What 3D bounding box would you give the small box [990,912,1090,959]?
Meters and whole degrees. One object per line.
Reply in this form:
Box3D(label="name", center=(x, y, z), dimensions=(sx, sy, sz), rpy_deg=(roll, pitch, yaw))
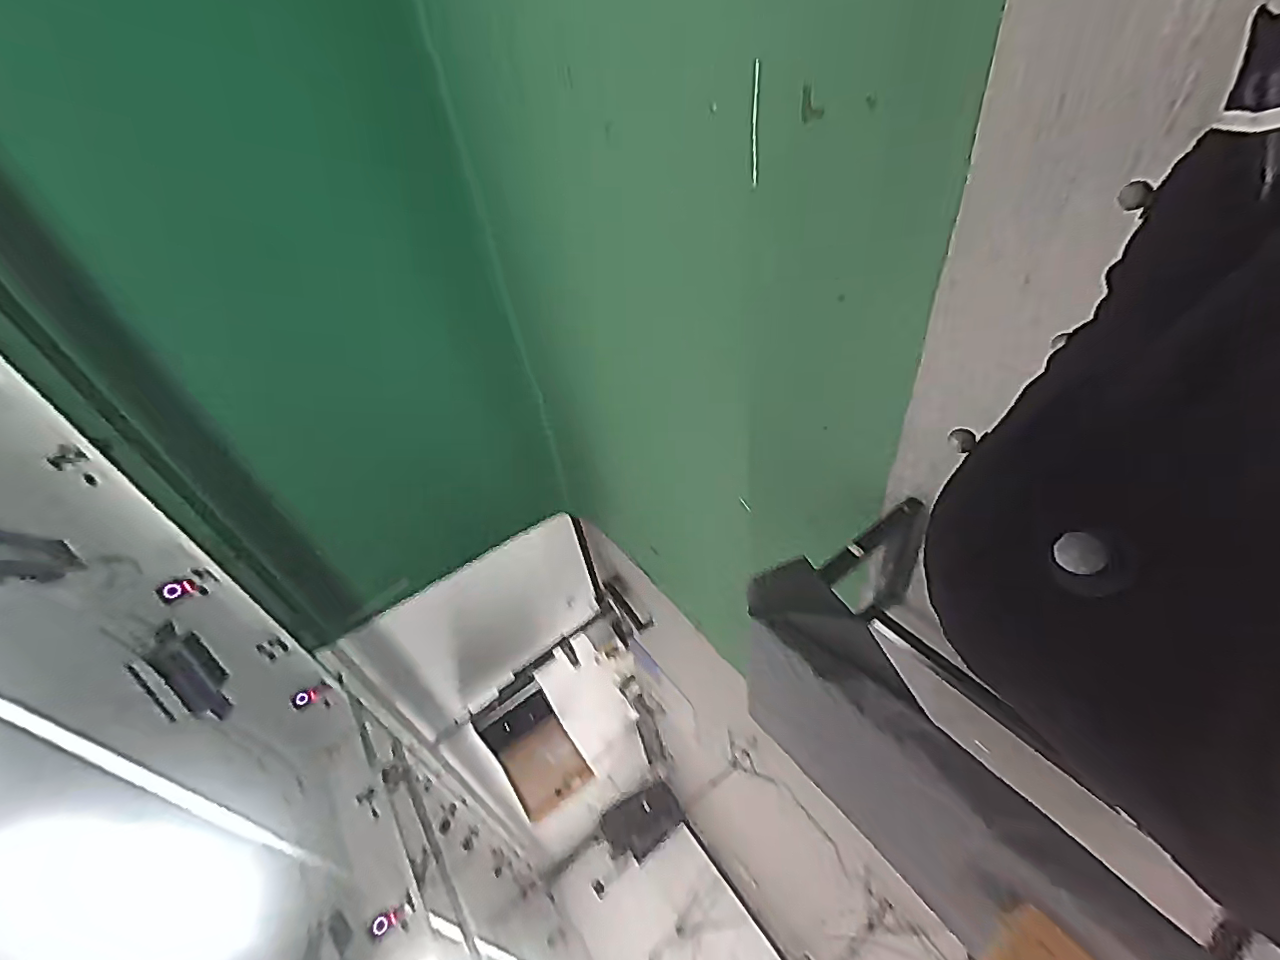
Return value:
Box3D(label="small box", center=(0.795, 0.994, 1.043), dimensions=(0.179, 0.176, 0.168), rpy_deg=(40, 152, 43))
